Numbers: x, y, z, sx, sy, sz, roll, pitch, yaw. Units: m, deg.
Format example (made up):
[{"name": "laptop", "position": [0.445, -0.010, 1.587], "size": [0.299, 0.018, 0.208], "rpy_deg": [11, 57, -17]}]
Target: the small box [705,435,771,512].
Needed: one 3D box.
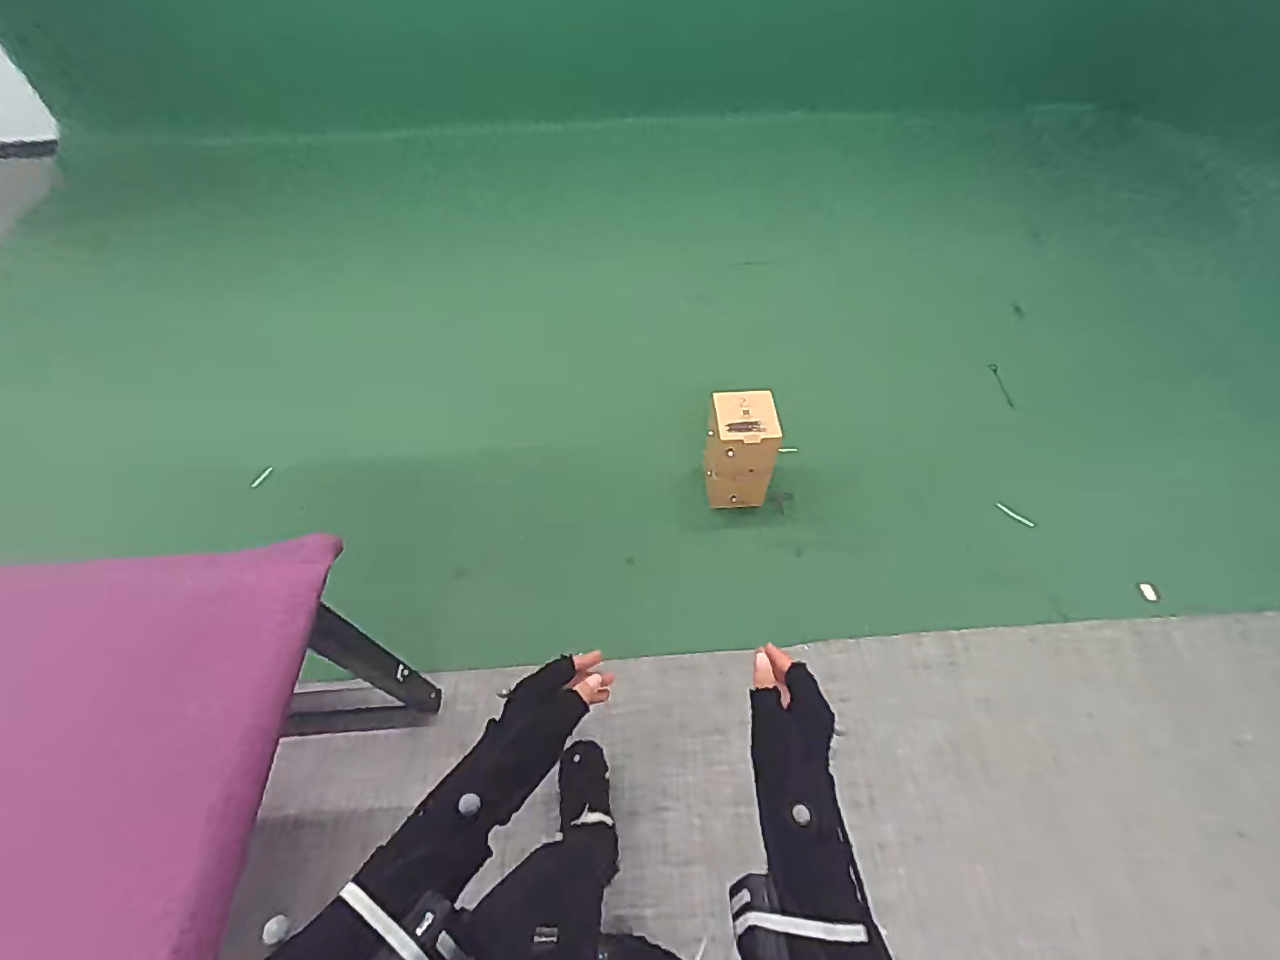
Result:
[{"name": "small box", "position": [0.297, -0.019, 1.677], "size": [0.168, 0.176, 0.179], "rpy_deg": [-3, 55, -1]}]
